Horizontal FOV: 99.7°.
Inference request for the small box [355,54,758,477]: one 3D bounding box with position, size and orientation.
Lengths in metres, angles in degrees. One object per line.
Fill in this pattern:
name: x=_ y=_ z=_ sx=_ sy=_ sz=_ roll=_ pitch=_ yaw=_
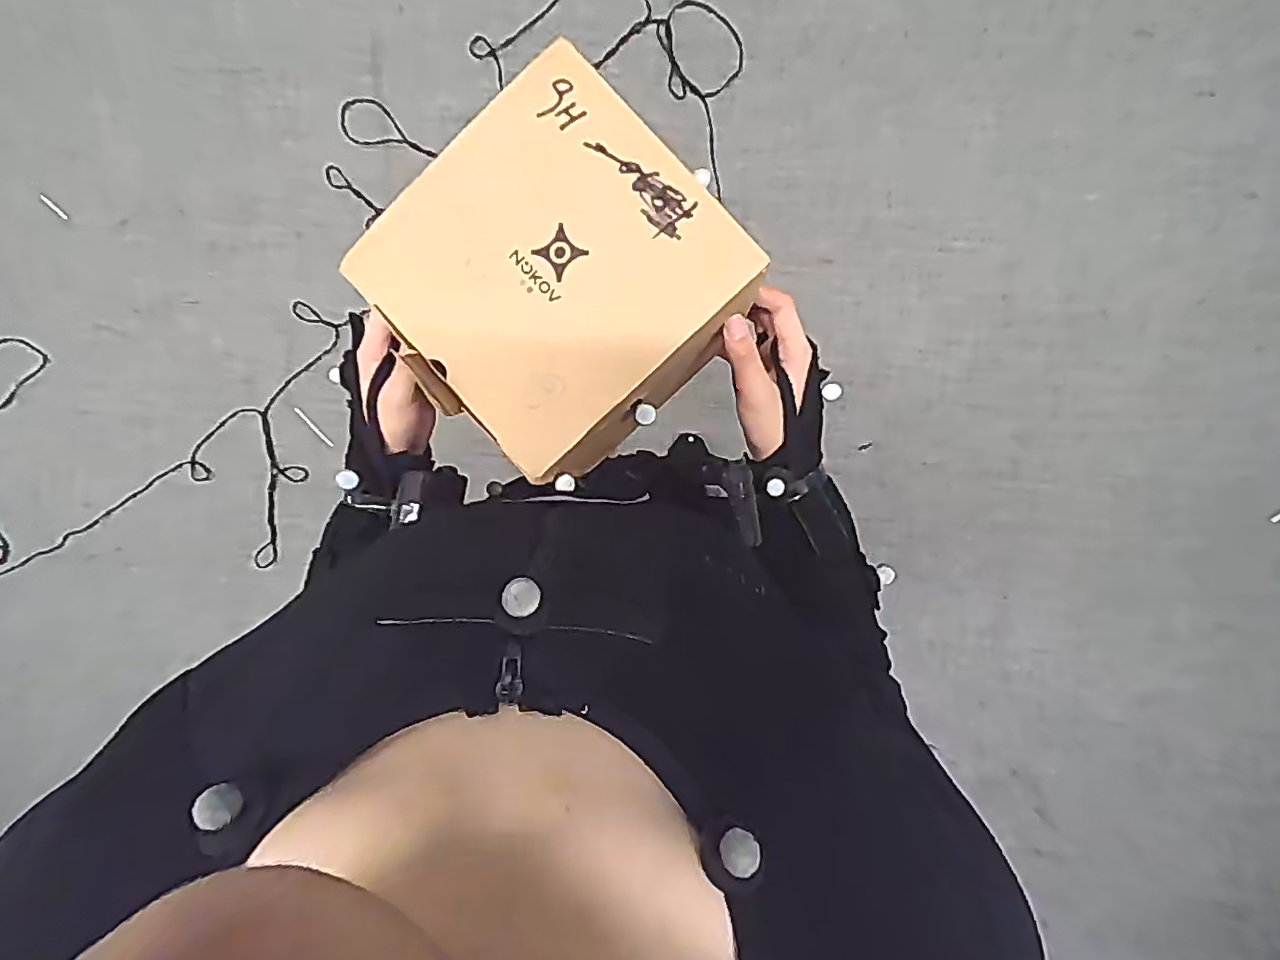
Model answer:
small box: x=-0.042 y=-0.120 z=0.380 sx=0.179 sy=0.176 sz=0.168 roll=-43 pitch=89 yaw=5
